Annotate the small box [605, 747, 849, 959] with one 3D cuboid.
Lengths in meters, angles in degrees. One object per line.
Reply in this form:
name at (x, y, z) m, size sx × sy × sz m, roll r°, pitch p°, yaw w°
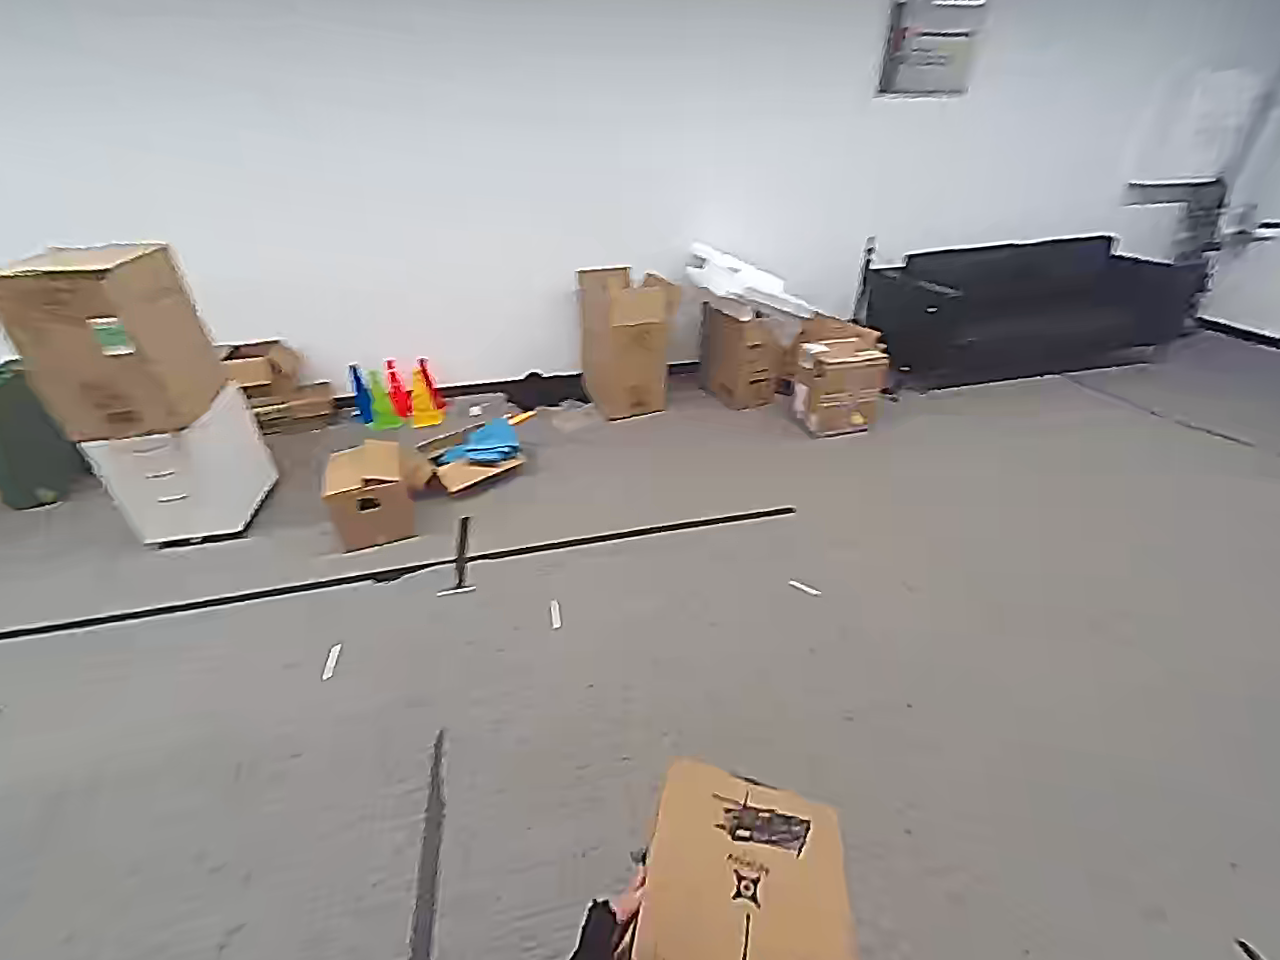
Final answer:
small box at (0.067, 0.384, 0.474) m, size 0.168 × 0.176 × 0.179 m, roll 16°, pitch 27°, yaw 6°
